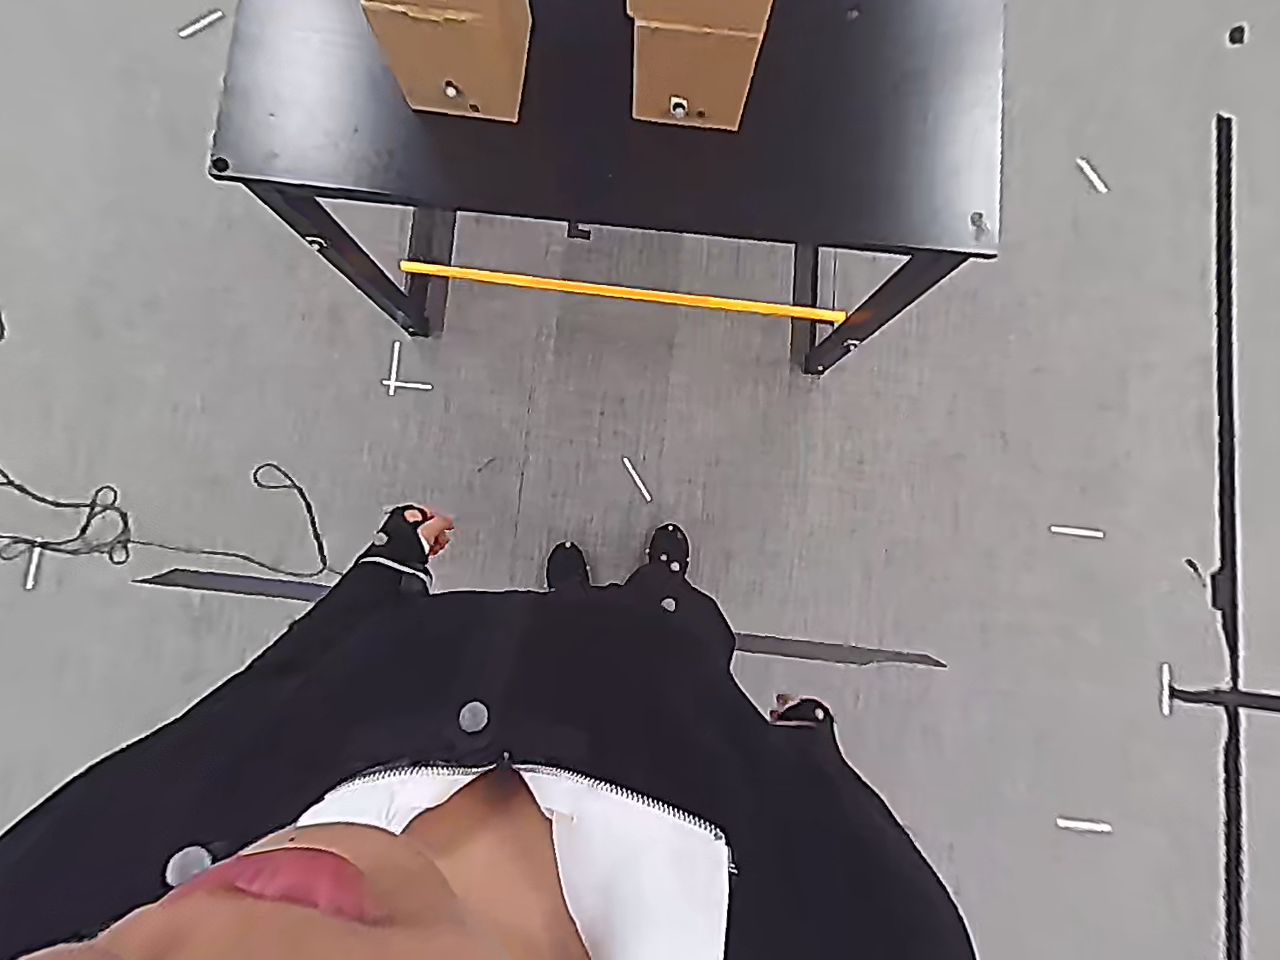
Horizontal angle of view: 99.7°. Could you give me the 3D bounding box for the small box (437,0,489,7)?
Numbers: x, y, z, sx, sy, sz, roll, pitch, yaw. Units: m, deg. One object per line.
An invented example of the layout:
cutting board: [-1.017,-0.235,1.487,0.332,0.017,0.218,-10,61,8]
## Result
small box: [-0.254,-0.677,0.594,0.168,0.176,0.179,4,85,-2]

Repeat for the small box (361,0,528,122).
small box: [-0.258,-0.653,0.757,0.168,0.176,0.179,7,85,-1]

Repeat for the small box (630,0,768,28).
small box: [0.080,-0.660,0.607,0.179,0.176,0.168,6,84,-1]

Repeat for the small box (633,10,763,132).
small box: [0.079,-0.644,0.771,0.168,0.176,0.179,4,85,-1]
